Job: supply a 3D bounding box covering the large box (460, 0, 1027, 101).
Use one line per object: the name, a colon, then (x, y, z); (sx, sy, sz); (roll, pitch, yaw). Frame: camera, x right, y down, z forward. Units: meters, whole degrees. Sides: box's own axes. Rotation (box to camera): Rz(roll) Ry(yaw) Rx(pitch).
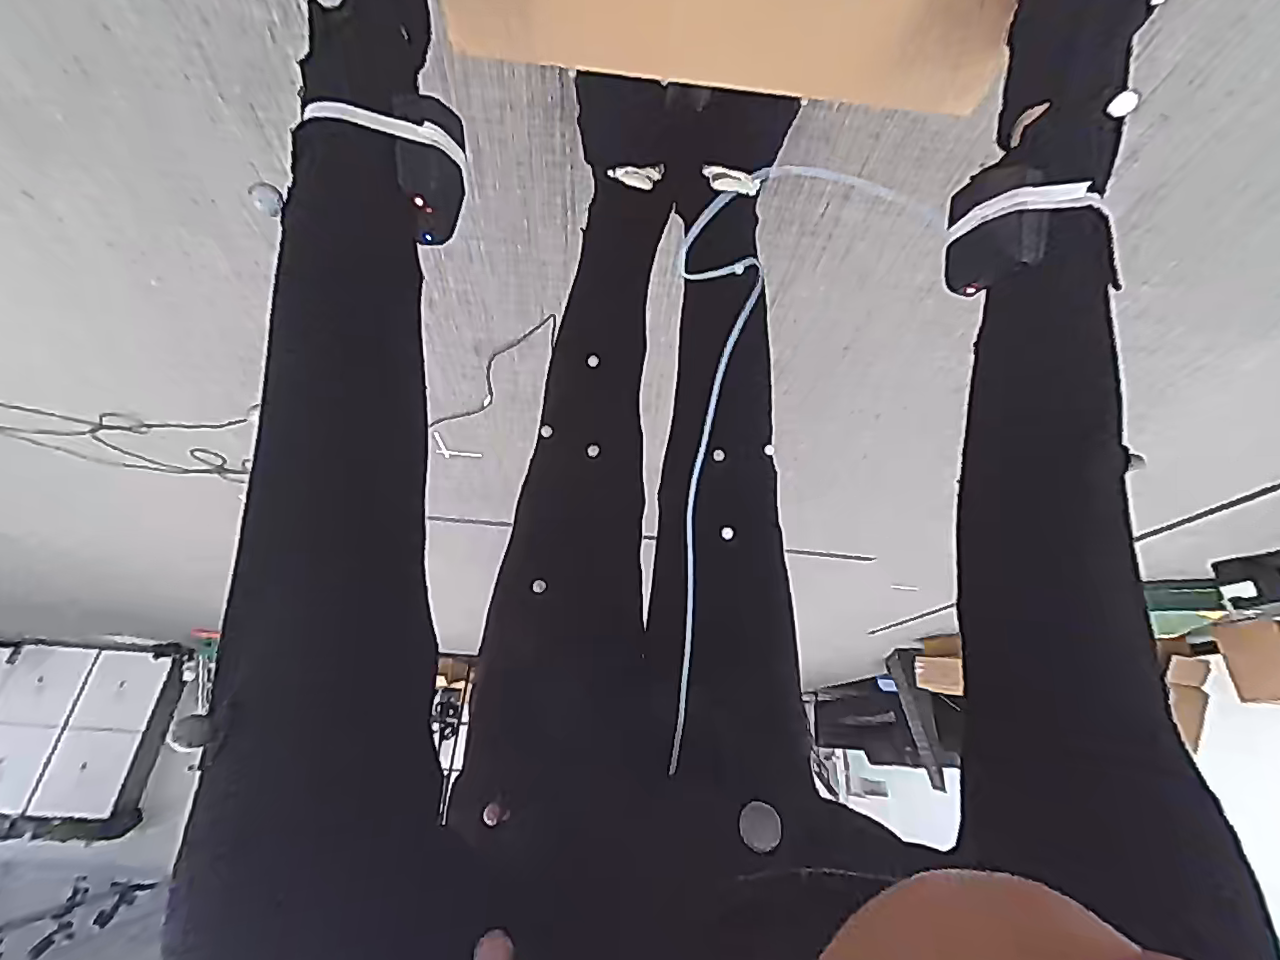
large box: (0.081, -0.514, 0.351); (0.408, 0.320, 0.320); (4, 156, -3)
